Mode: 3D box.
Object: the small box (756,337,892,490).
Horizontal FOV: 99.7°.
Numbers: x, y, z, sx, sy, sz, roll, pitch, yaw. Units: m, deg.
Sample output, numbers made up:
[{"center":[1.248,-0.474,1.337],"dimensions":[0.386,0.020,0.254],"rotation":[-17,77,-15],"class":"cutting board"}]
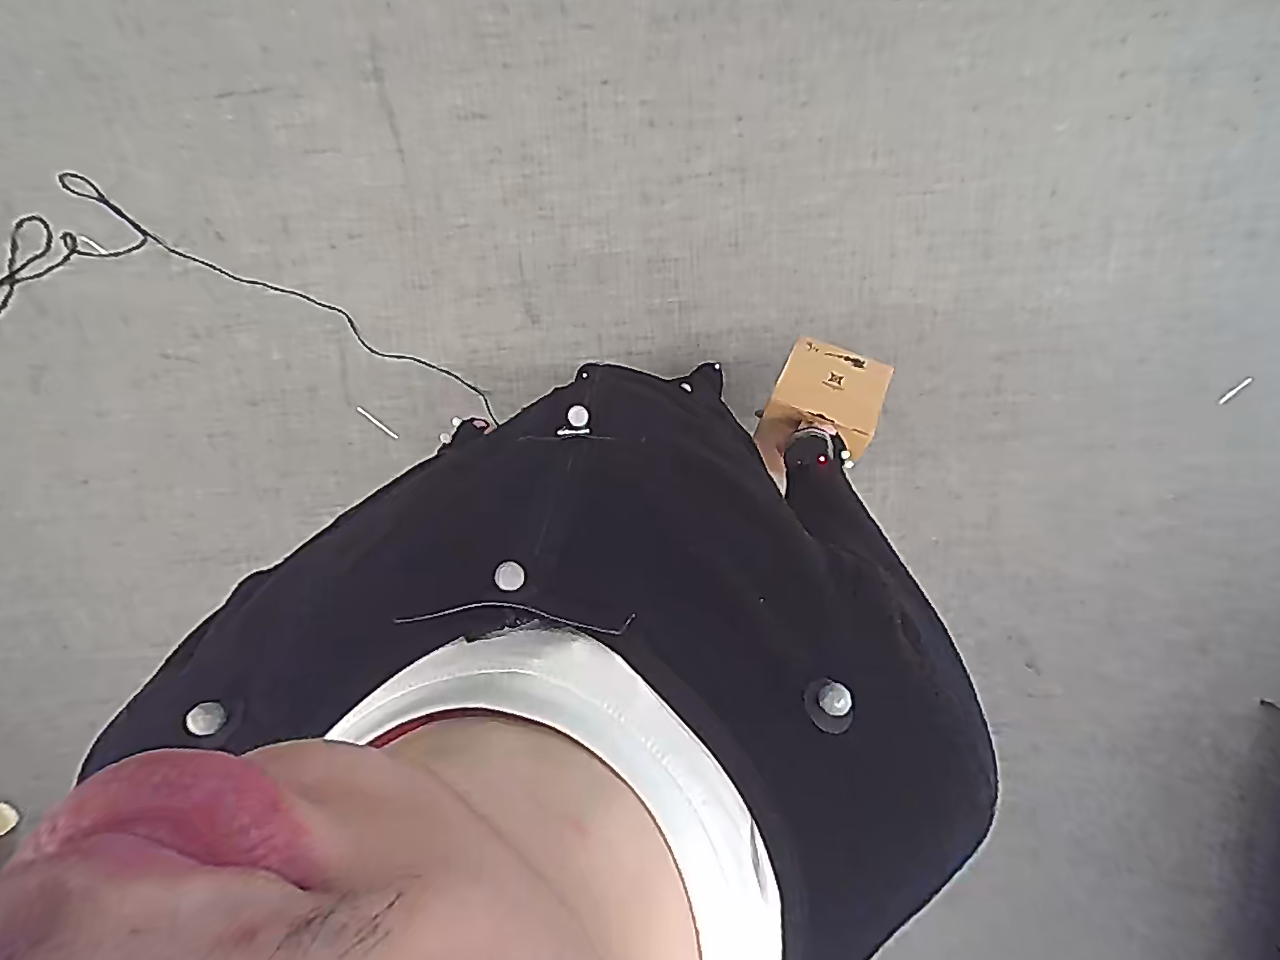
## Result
[{"center":[0.310,-0.110,0.939],"dimensions":[0.168,0.179,0.176],"rotation":[20,147,12],"class":"small box"}]
